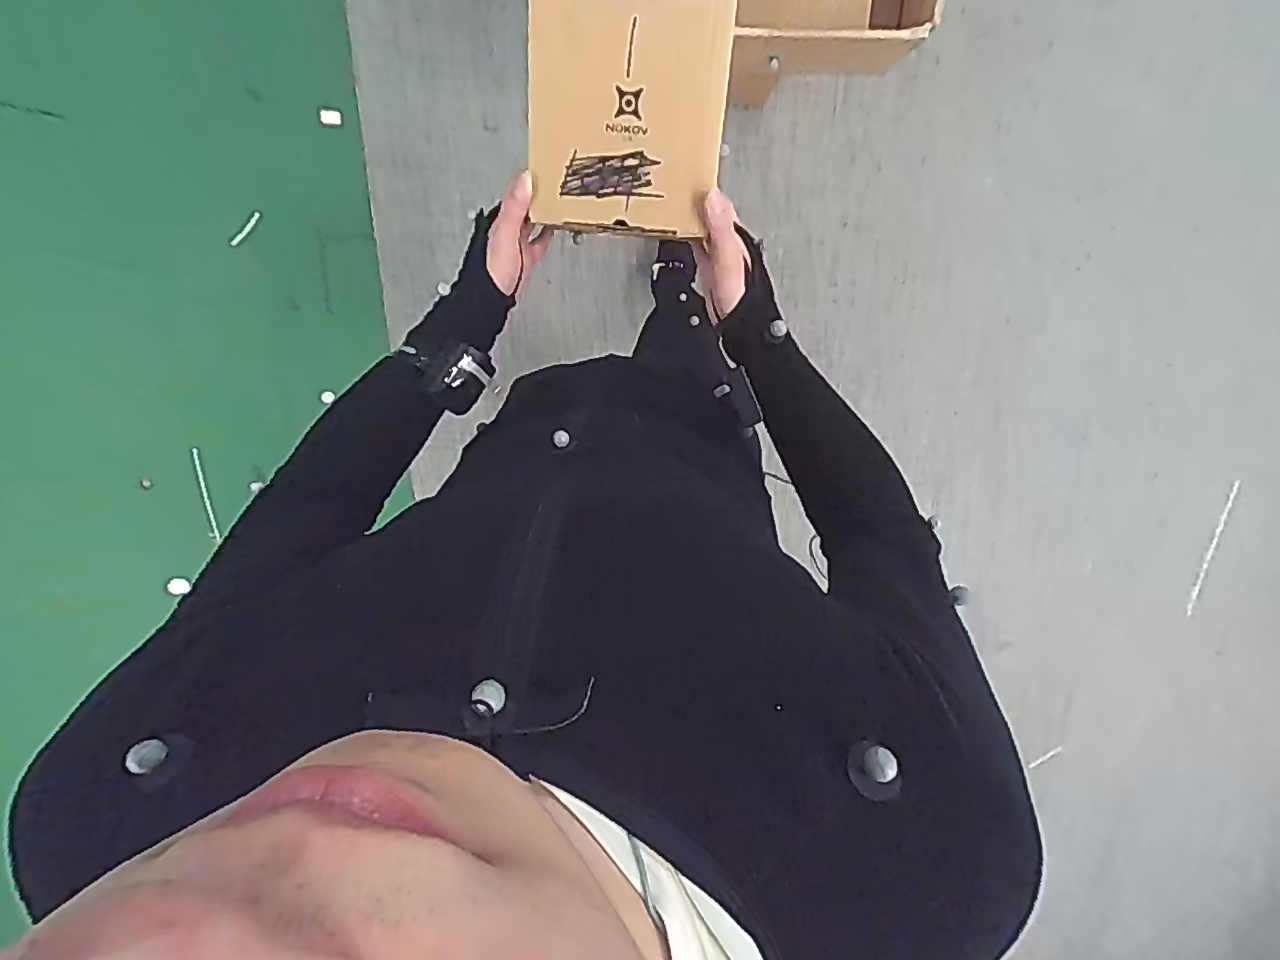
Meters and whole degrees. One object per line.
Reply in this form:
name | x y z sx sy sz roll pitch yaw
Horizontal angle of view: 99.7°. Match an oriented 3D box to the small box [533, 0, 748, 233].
small box | -0.006 -0.339 0.516 0.168 0.176 0.179 3 112 -3
